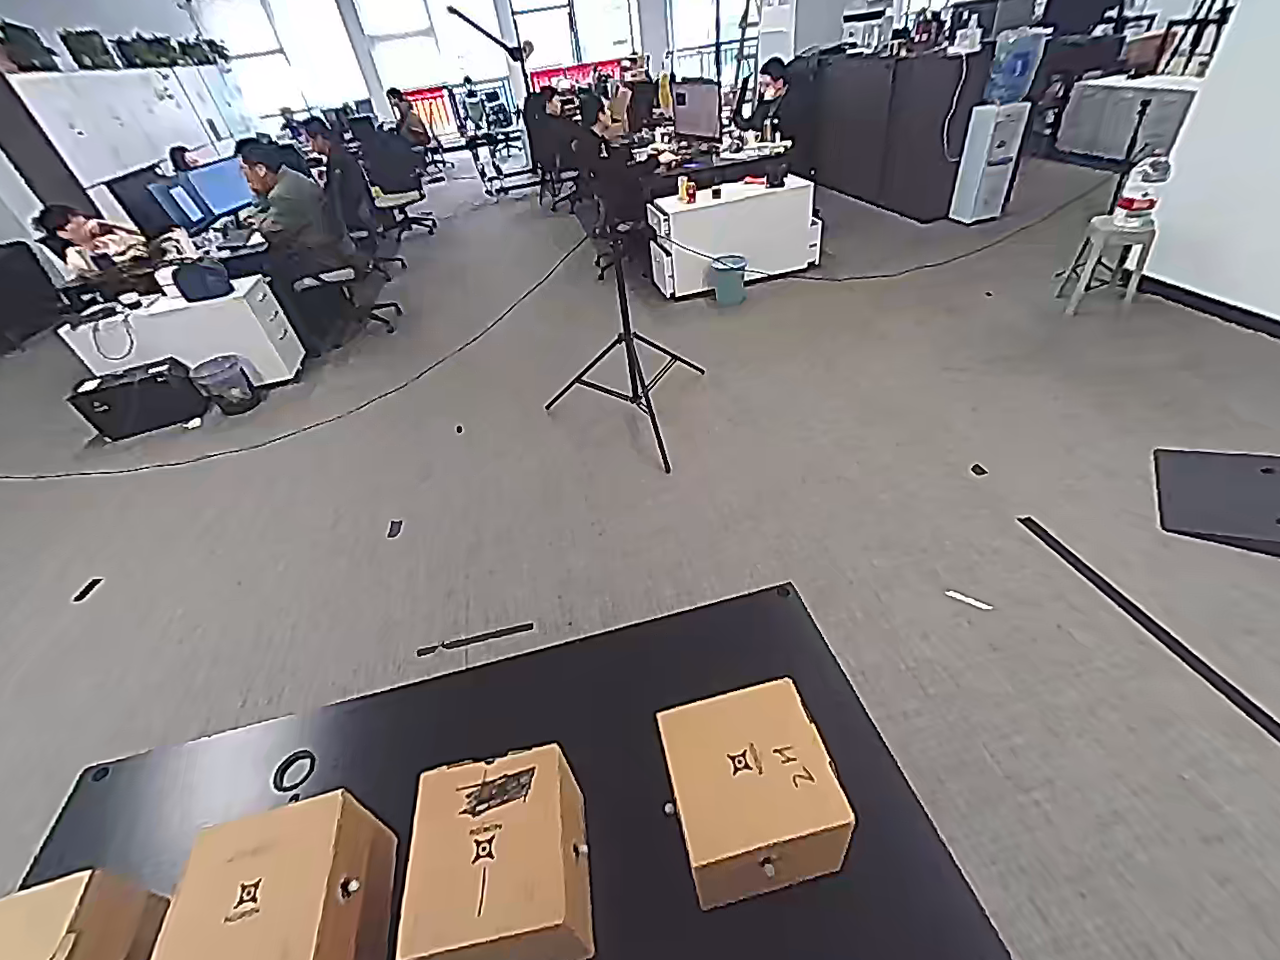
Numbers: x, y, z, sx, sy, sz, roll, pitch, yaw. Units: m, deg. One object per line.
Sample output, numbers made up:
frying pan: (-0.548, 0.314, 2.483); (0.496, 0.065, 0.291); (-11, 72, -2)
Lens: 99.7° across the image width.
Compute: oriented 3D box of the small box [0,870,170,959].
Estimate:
small box: (-0.651, 0.559, 0.576); (0.179, 0.176, 0.168); (-14, 39, -8)

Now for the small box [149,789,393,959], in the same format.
small box: (-0.399, 0.494, 0.613); (0.168, 0.176, 0.179); (-13, 39, -7)

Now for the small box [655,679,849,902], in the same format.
small box: (0.128, 0.378, 0.657); (0.179, 0.176, 0.168); (-13, 40, -5)

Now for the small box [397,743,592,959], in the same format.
small box: (-0.155, 0.444, 0.629); (0.168, 0.176, 0.179); (-11, 40, -3)
